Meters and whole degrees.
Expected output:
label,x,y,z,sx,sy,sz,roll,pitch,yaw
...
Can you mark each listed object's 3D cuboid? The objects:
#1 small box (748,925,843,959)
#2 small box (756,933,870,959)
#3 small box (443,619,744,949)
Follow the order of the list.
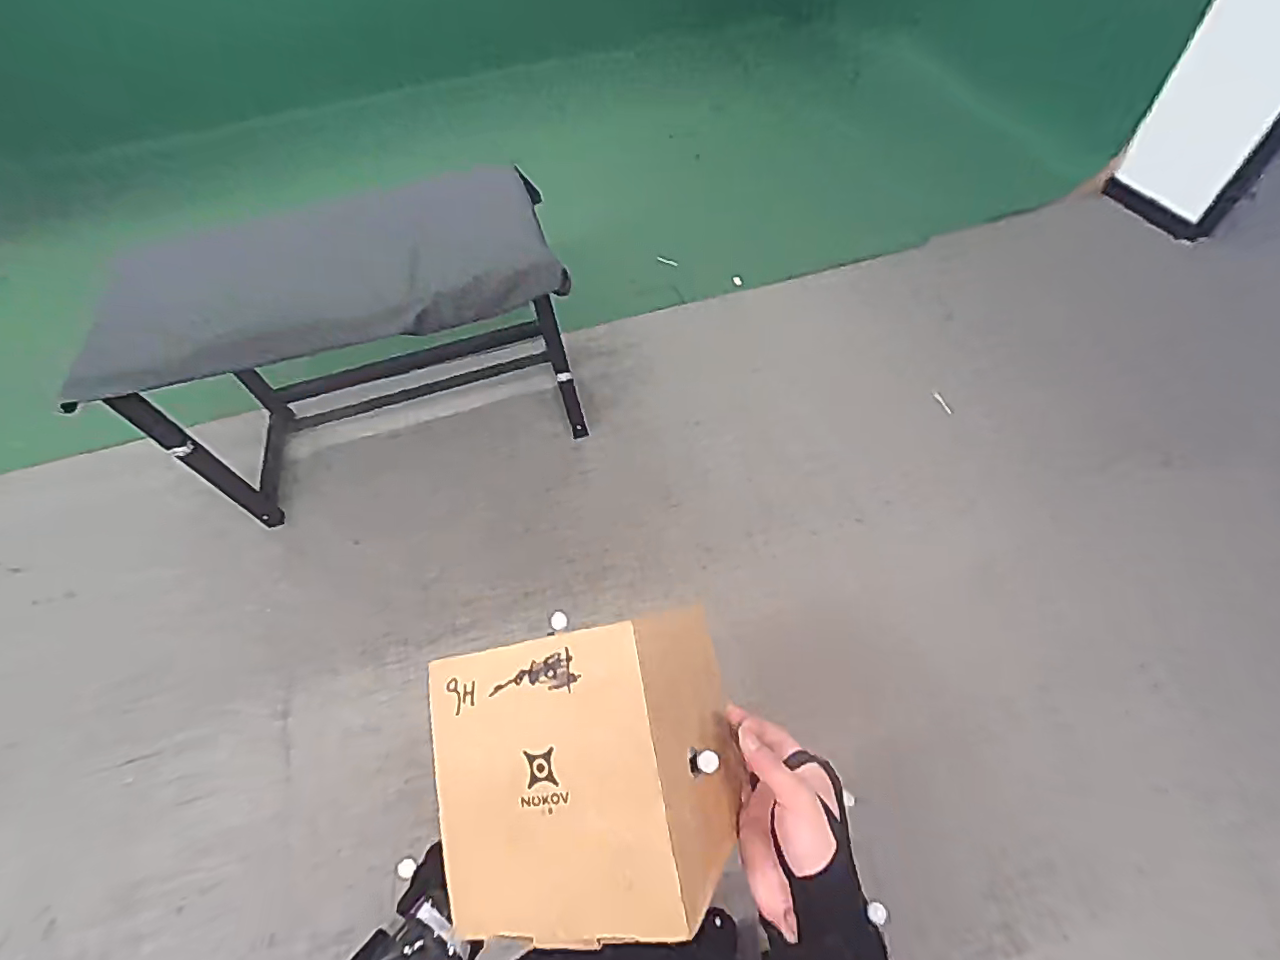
label,x,y,z,sx,sy,sz,roll,pitch,yaw
small box,0.320,0.998,1.072,0.179,0.176,0.168,-6,53,2
small box,0.307,0.902,0.939,0.179,0.176,0.168,-5,53,3
small box,-0.026,0.216,0.425,0.168,0.176,0.179,-16,75,18
